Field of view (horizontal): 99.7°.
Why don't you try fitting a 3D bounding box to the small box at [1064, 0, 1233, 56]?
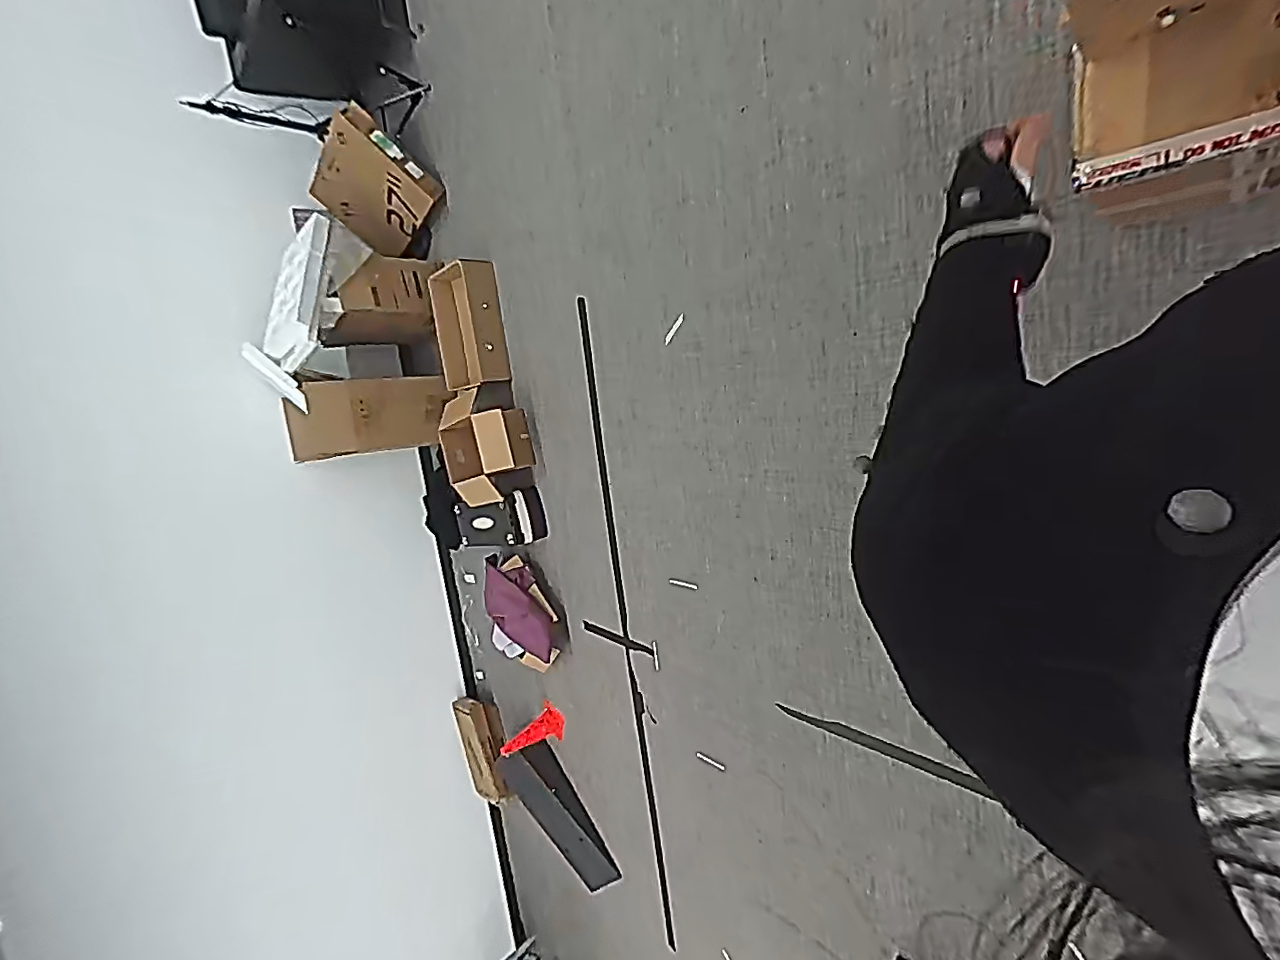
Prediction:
[{"bbox_3d":[0.588,-0.627,0.601,0.168,0.176,0.179,-1,103,50],"label":"small box"}]
